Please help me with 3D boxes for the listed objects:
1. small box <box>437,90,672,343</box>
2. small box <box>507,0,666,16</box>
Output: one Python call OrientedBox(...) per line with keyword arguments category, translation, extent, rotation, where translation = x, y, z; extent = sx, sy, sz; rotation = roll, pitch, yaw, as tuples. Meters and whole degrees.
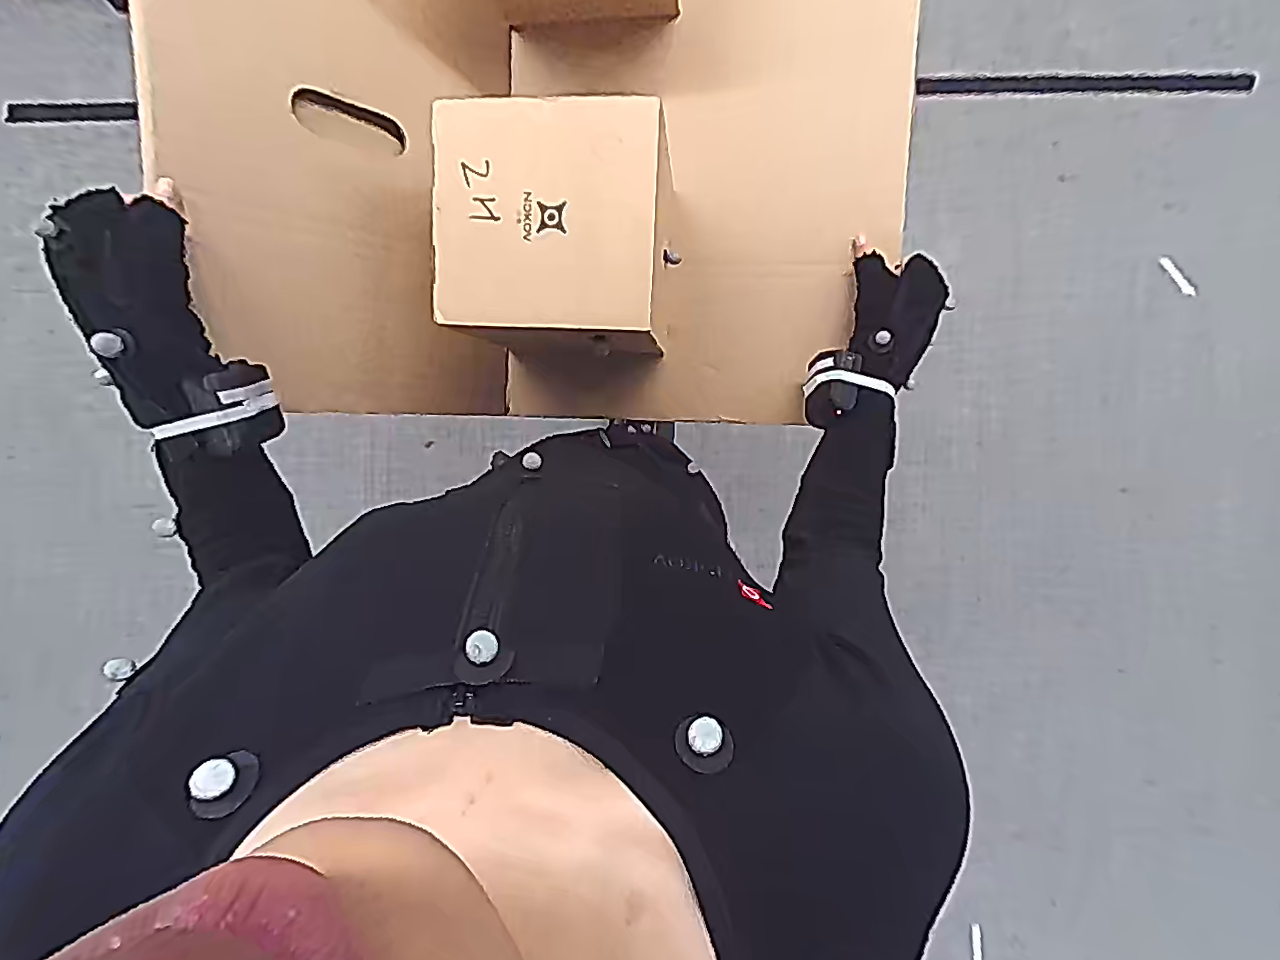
OrientedBox(category="small box", translation=(-0.064, -0.221, 0.496), extent=(0.179, 0.176, 0.168), rotation=(4, 97, 7))
OrientedBox(category="small box", translation=(-0.057, -0.539, 0.456), extent=(0.179, 0.176, 0.168), rotation=(1, 97, 6))
